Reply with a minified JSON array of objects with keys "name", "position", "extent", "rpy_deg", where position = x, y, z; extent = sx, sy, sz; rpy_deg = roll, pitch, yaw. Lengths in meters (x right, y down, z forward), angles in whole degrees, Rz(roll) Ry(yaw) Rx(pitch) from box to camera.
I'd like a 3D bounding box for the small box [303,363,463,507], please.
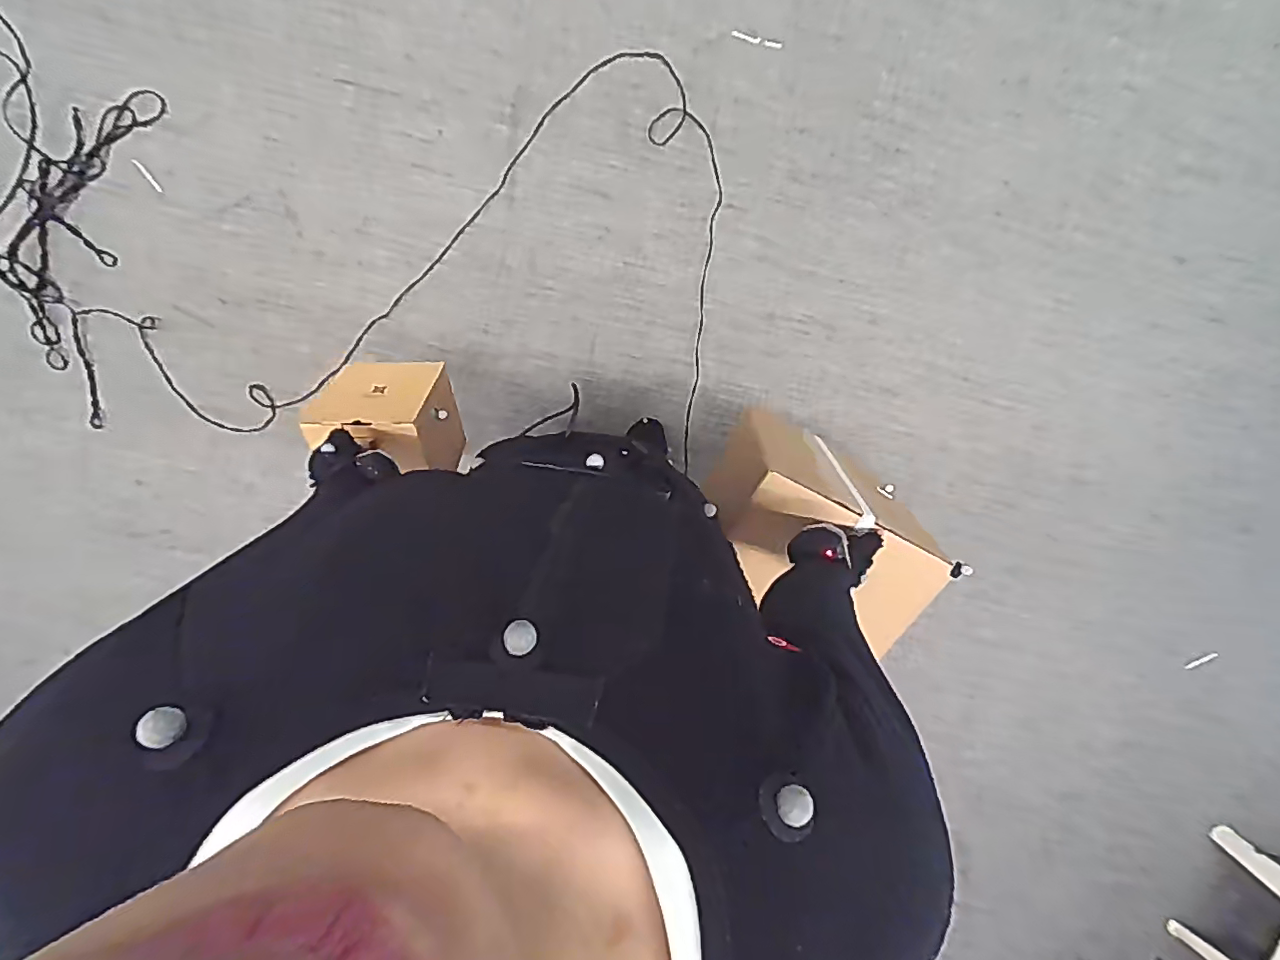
[{"name":"small box","position":[-0.403,-0.076,0.888],"extent":[0.168,0.179,0.176],"rpy_deg":[-1,132,0]}]
